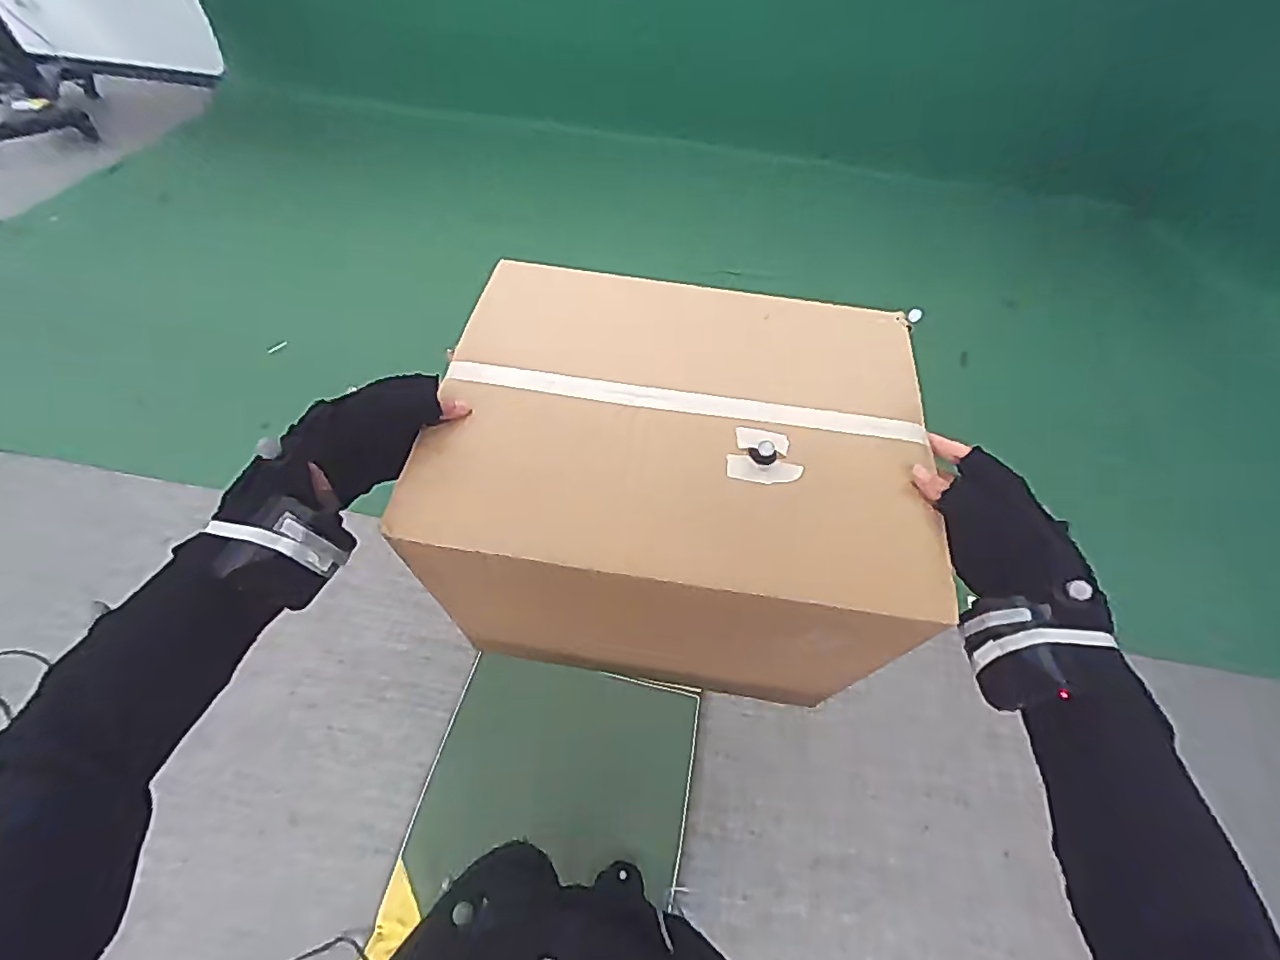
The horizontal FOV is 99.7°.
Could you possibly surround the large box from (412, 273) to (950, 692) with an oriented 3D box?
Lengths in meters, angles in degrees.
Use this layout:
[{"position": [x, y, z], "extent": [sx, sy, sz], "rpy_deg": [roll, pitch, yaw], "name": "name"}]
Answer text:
[{"position": [0.035, 0.019, 0.594], "extent": [0.408, 0.320, 0.320], "rpy_deg": [8, 58, 1], "name": "large box"}]
